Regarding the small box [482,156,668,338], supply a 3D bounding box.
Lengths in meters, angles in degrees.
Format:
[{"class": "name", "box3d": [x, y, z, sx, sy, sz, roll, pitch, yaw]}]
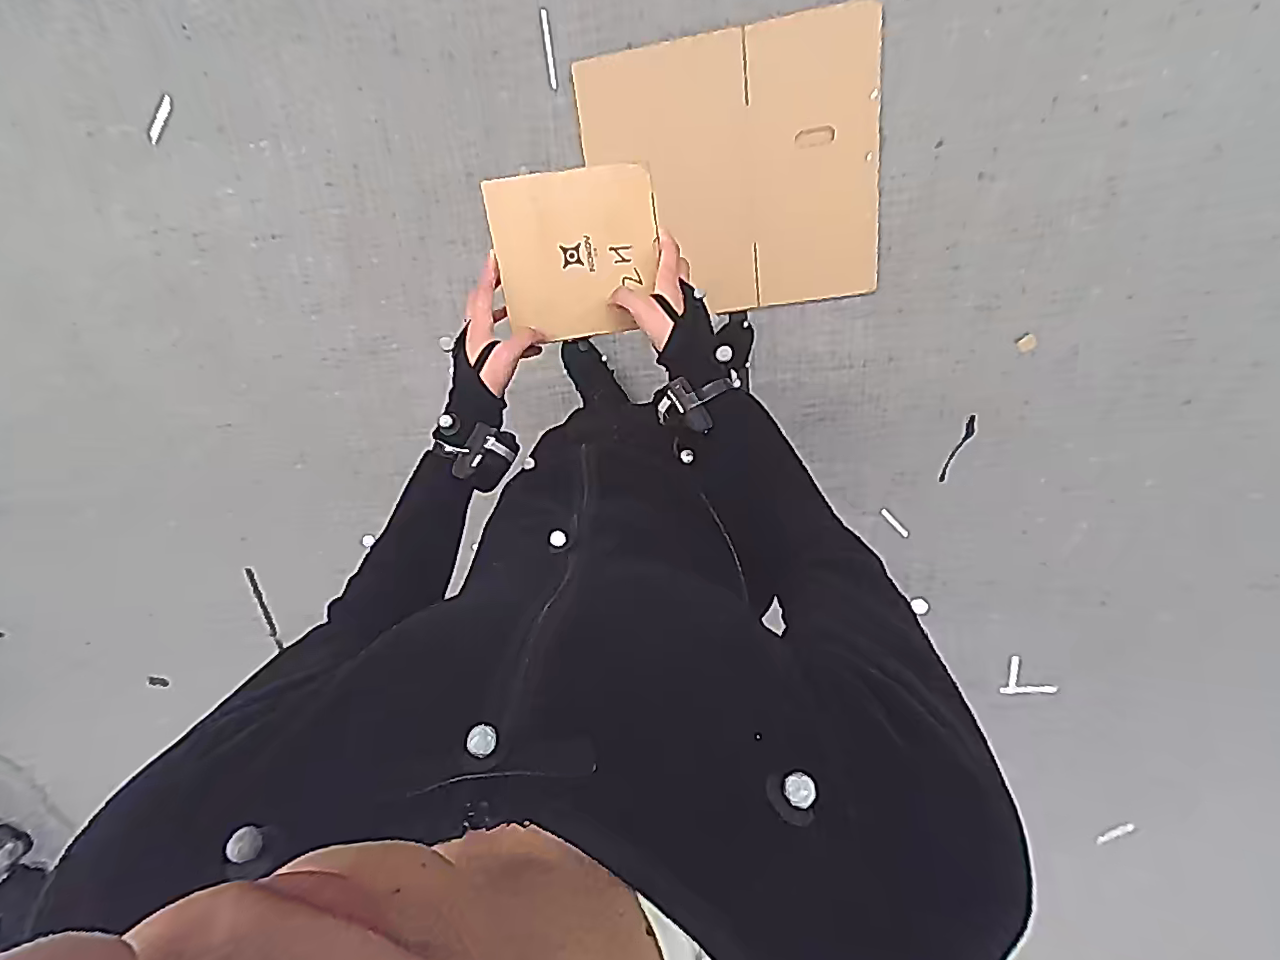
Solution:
[{"class": "small box", "box3d": [-0.073, -0.262, 0.644, 0.179, 0.176, 0.168, -10, 107, -6]}]
